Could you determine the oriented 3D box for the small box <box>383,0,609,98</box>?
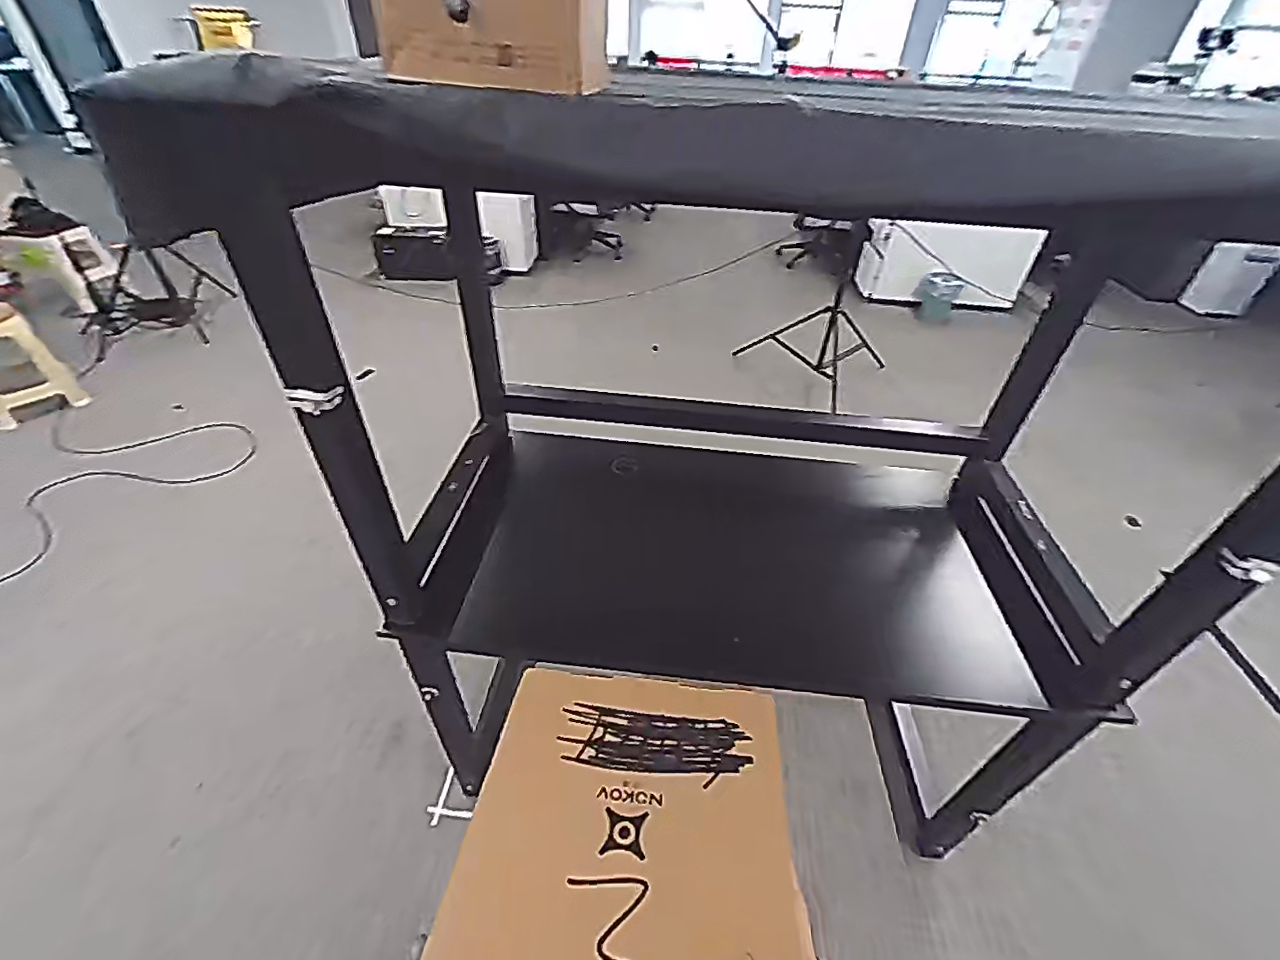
[{"bbox_3d":[-0.116,-0.440,0.461,0.168,0.176,0.179,5,38,1],"label":"small box"}]
